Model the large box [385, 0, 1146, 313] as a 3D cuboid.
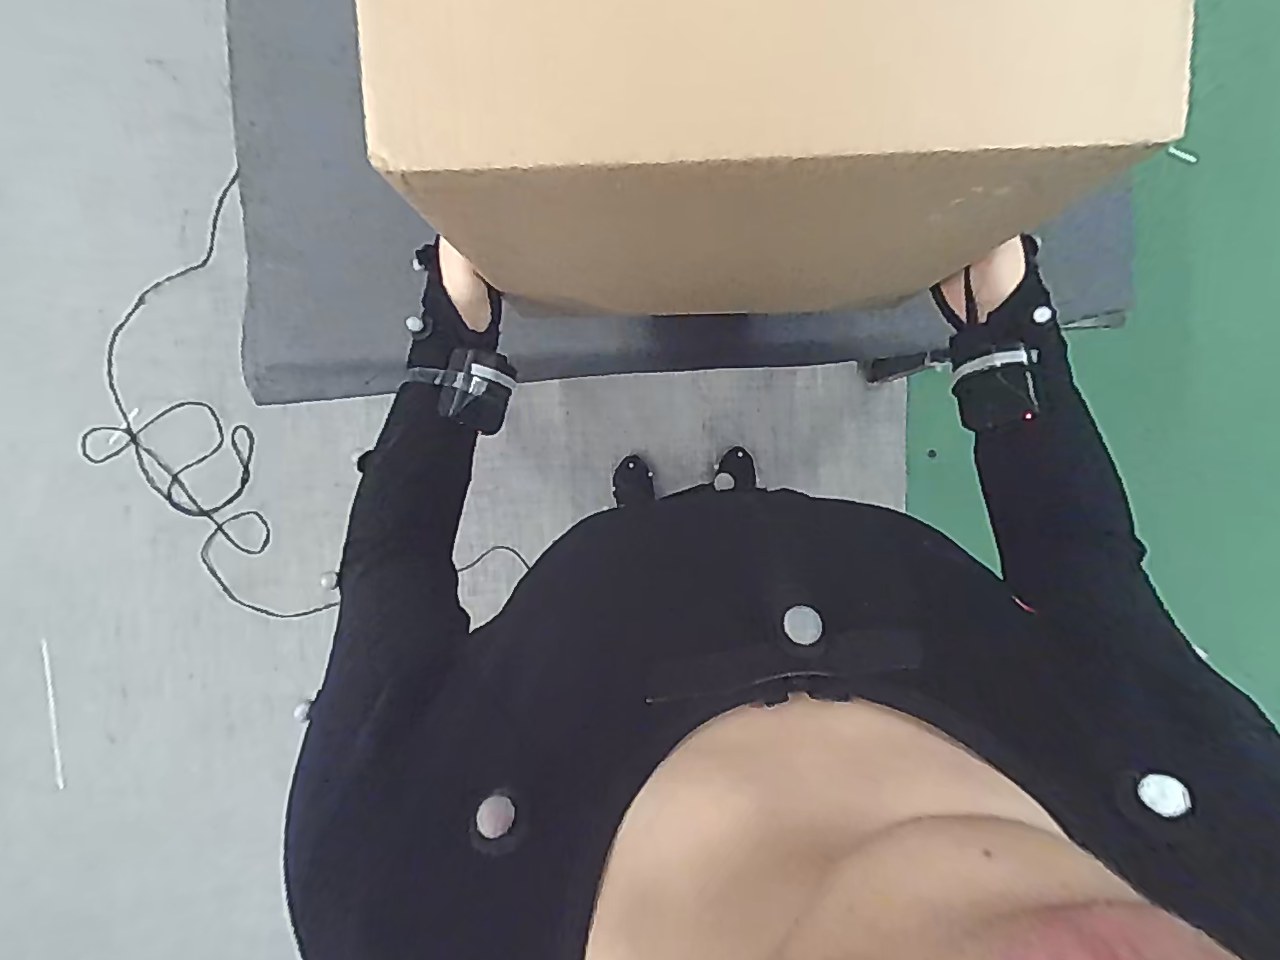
[{"bbox_3d":[0.060,-0.334,0.429,0.408,0.320,0.320,-2,94,1],"label":"large box"}]
